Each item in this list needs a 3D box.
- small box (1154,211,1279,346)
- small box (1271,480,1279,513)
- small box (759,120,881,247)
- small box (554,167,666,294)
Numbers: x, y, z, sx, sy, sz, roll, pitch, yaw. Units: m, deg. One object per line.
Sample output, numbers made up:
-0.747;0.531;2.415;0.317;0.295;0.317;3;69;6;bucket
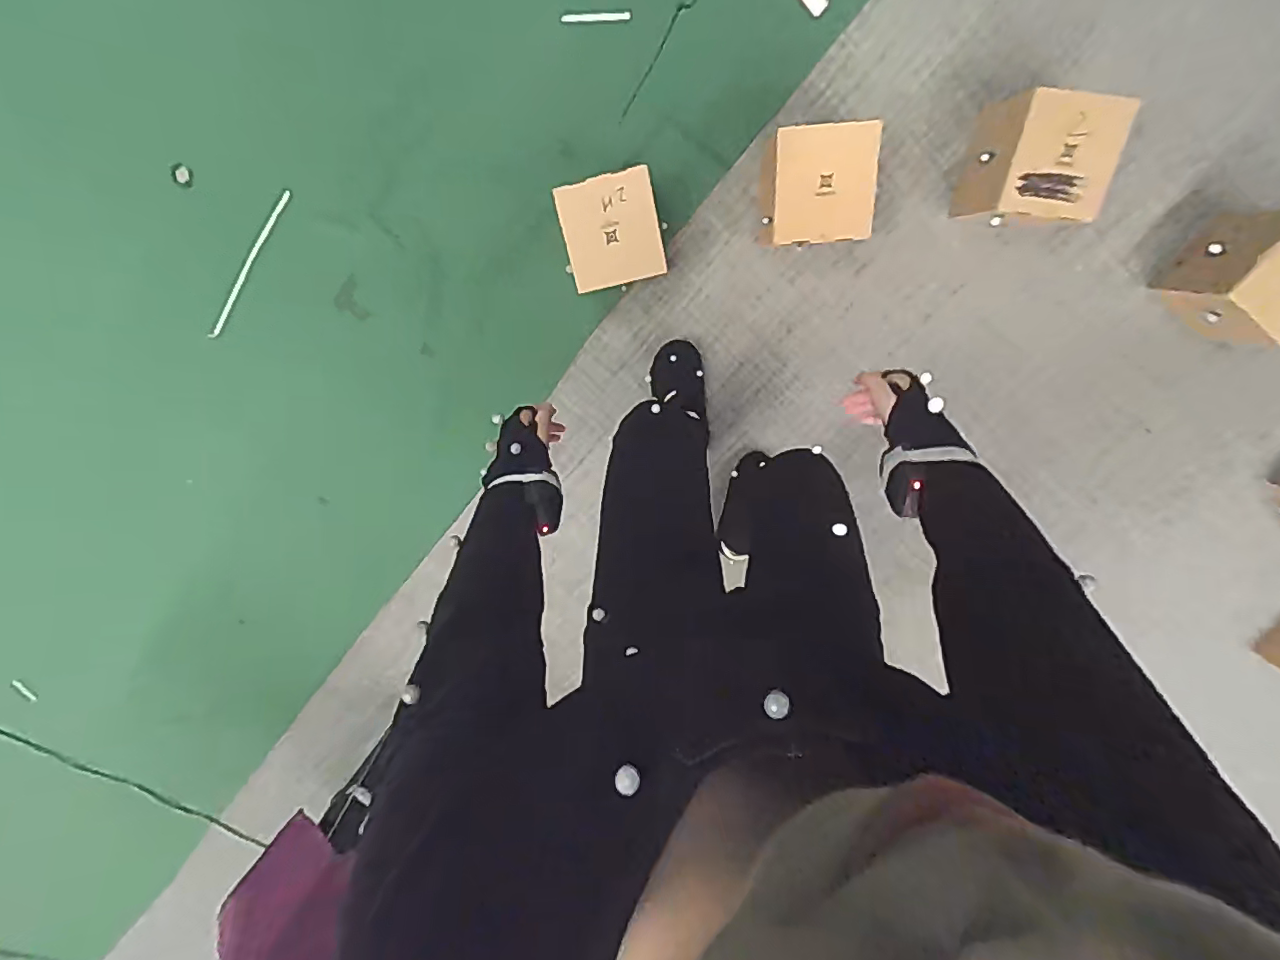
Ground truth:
1.121;-0.366;0.988;0.179;0.176;0.168;33;110;-9;small box
1.526;0.051;1.139;0.179;0.176;0.168;-34;106;15;small box
0.310;-0.518;0.968;0.168;0.176;0.179;-2;112;4;small box
-0.045;-0.457;1.006;0.168;0.176;0.179;-11;111;6;small box
